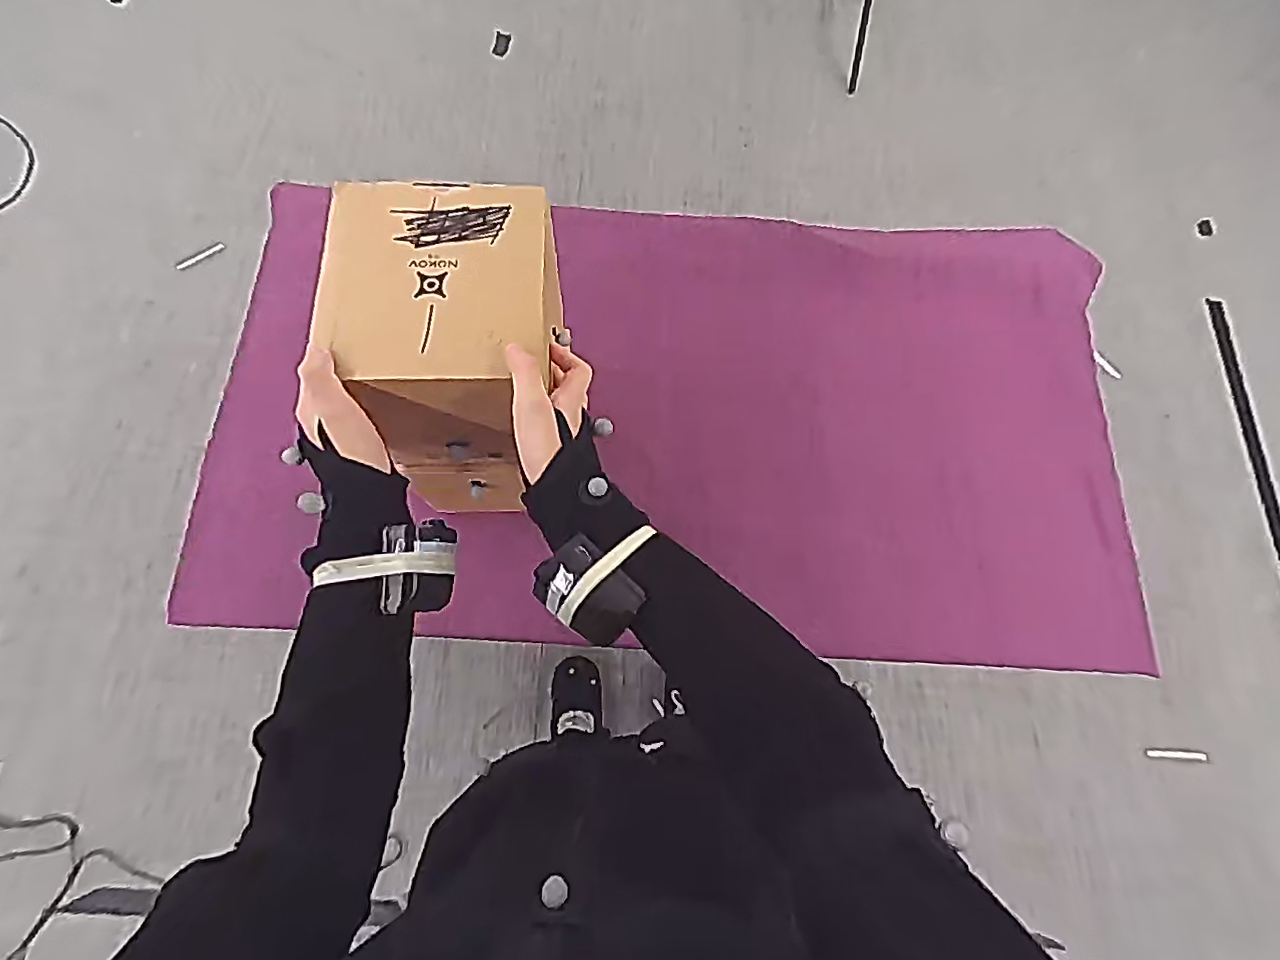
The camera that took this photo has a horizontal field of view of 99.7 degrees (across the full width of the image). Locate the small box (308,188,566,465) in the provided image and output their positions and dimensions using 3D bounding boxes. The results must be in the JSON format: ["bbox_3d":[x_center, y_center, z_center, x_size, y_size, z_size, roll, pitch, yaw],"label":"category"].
[{"bbox_3d":[-0.156,-0.124,0.481,0.168,0.176,0.179,-1,71,-4],"label":"small box"}]

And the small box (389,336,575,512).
[{"bbox_3d":[-0.169,-0.061,0.639,0.179,0.176,0.168,0,74,-3],"label":"small box"}]
